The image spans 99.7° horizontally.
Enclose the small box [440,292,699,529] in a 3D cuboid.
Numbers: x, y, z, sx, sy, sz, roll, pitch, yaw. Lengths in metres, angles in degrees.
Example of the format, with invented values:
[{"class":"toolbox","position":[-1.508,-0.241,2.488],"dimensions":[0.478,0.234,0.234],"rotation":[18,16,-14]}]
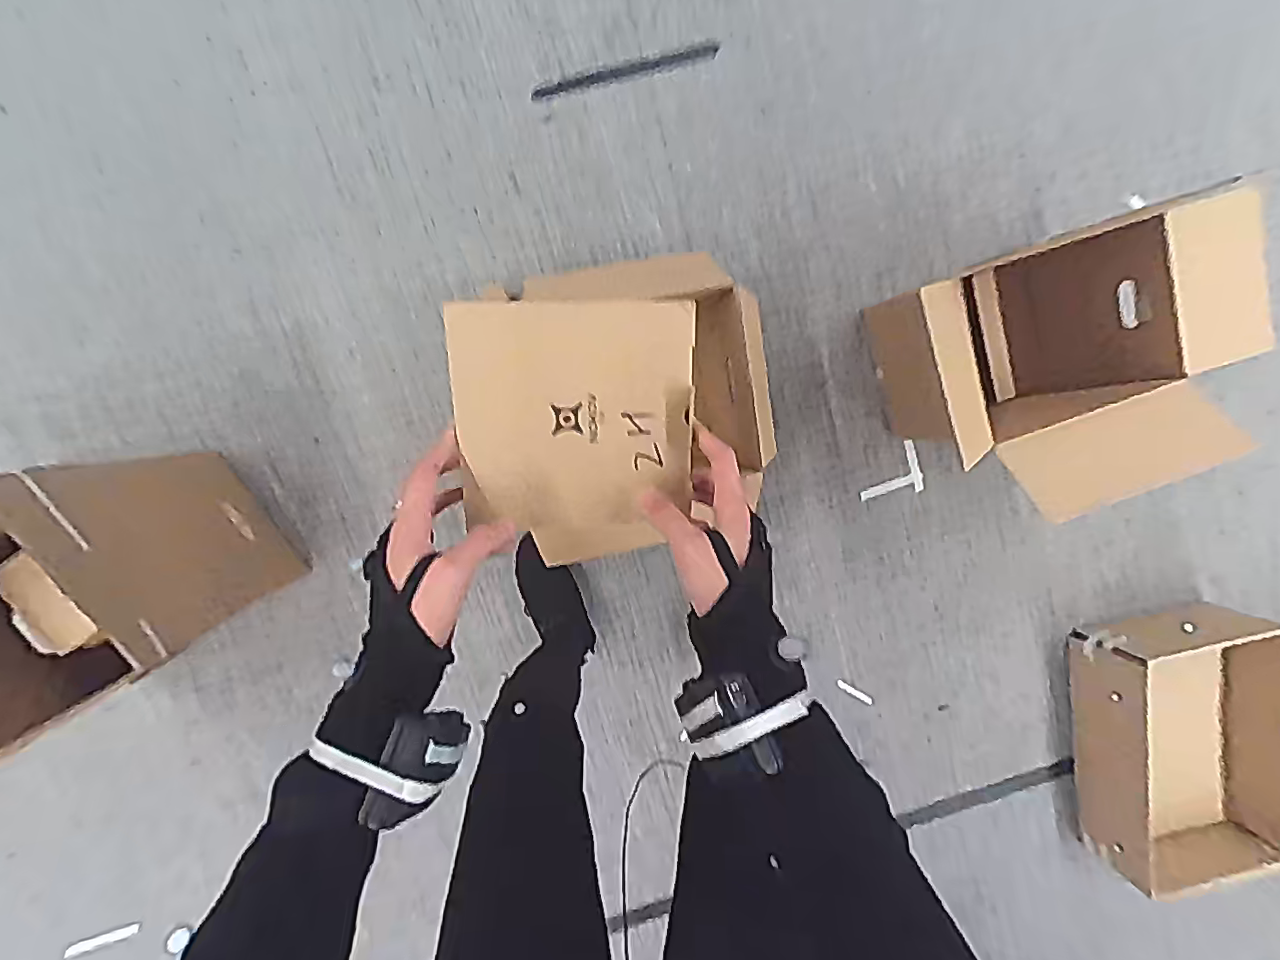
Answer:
[{"class":"small box","position":[-0.058,-0.066,0.459],"dimensions":[0.179,0.176,0.168],"rotation":[-3,107,-10]}]
